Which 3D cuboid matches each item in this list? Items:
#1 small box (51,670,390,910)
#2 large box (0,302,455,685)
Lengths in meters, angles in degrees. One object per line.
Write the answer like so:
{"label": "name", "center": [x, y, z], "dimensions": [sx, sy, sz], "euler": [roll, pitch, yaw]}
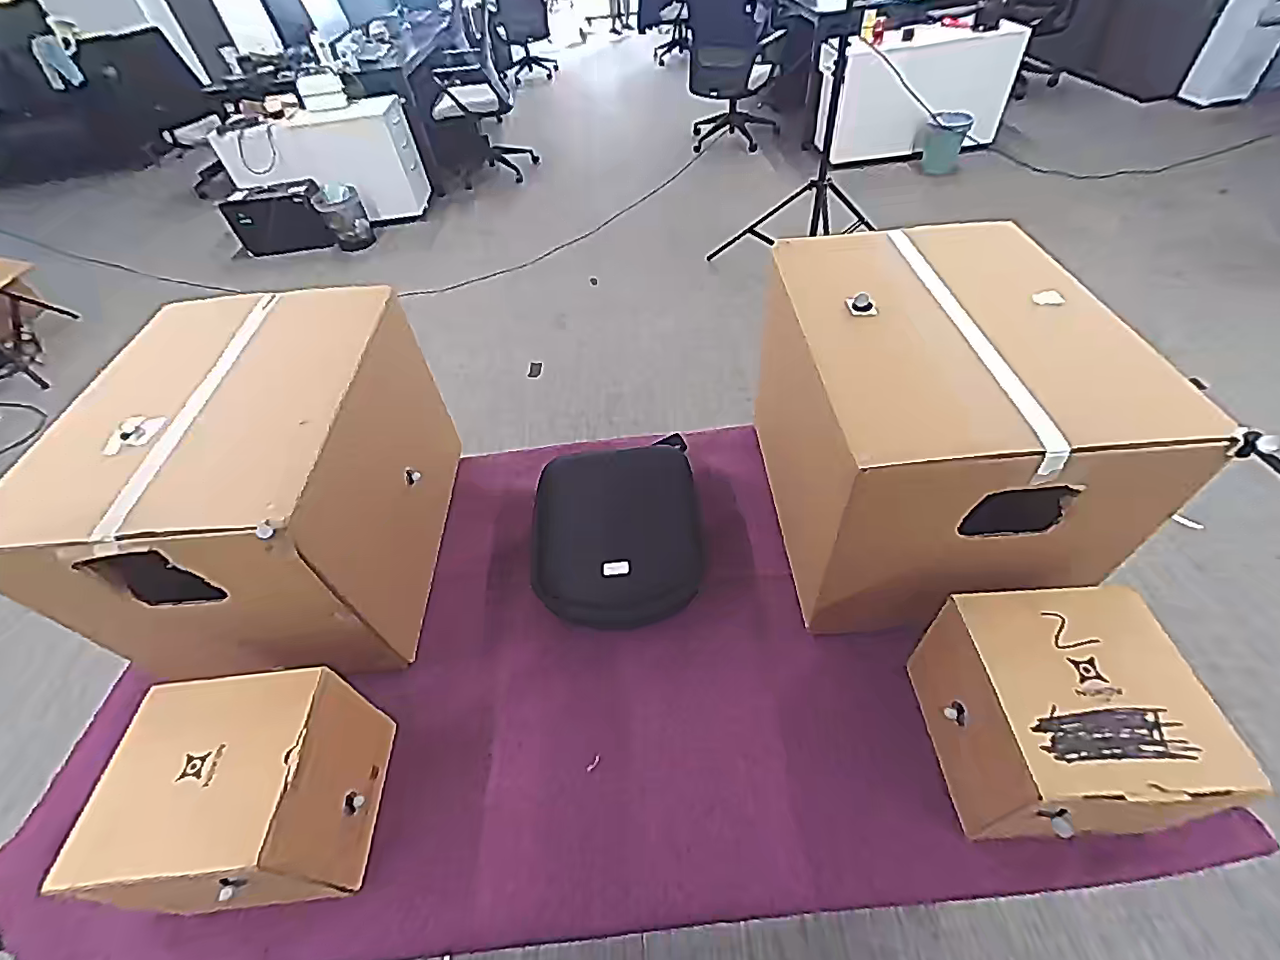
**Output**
{"label": "small box", "center": [-0.386, 0.313, 0.543], "dimensions": [0.179, 0.176, 0.168], "euler": [-7, 47, 0]}
{"label": "large box", "center": [-0.465, 0.016, 0.722], "dimensions": [0.320, 0.320, 0.408], "euler": [-6, 50, 0]}
